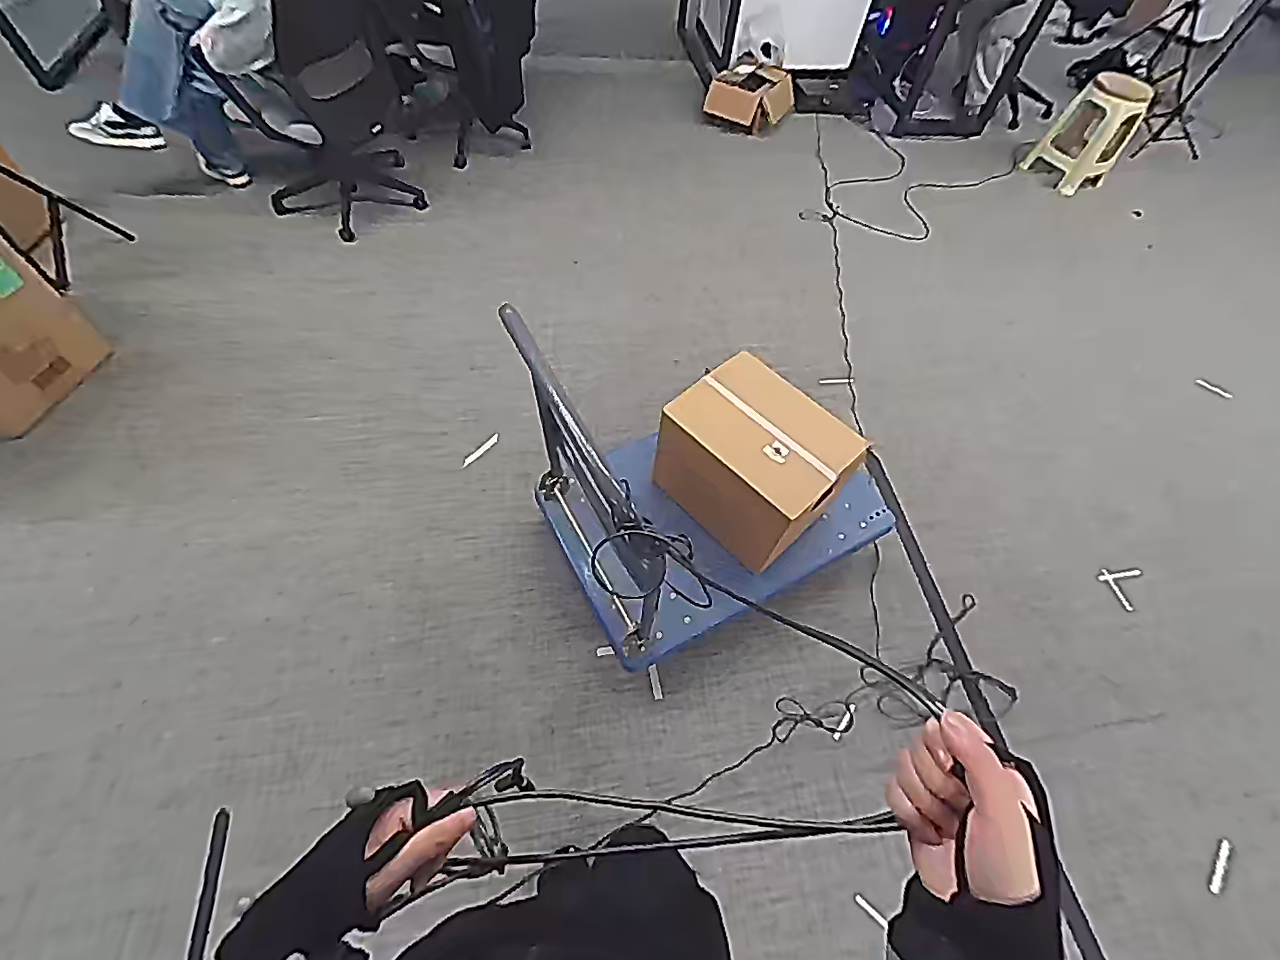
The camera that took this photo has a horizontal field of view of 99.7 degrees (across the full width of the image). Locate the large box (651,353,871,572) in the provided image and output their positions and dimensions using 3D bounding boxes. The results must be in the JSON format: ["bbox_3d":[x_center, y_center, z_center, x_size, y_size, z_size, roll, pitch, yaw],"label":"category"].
[{"bbox_3d":[0.285,-0.044,1.395,0.320,0.320,0.408,-38,69,-23],"label":"large box"}]
